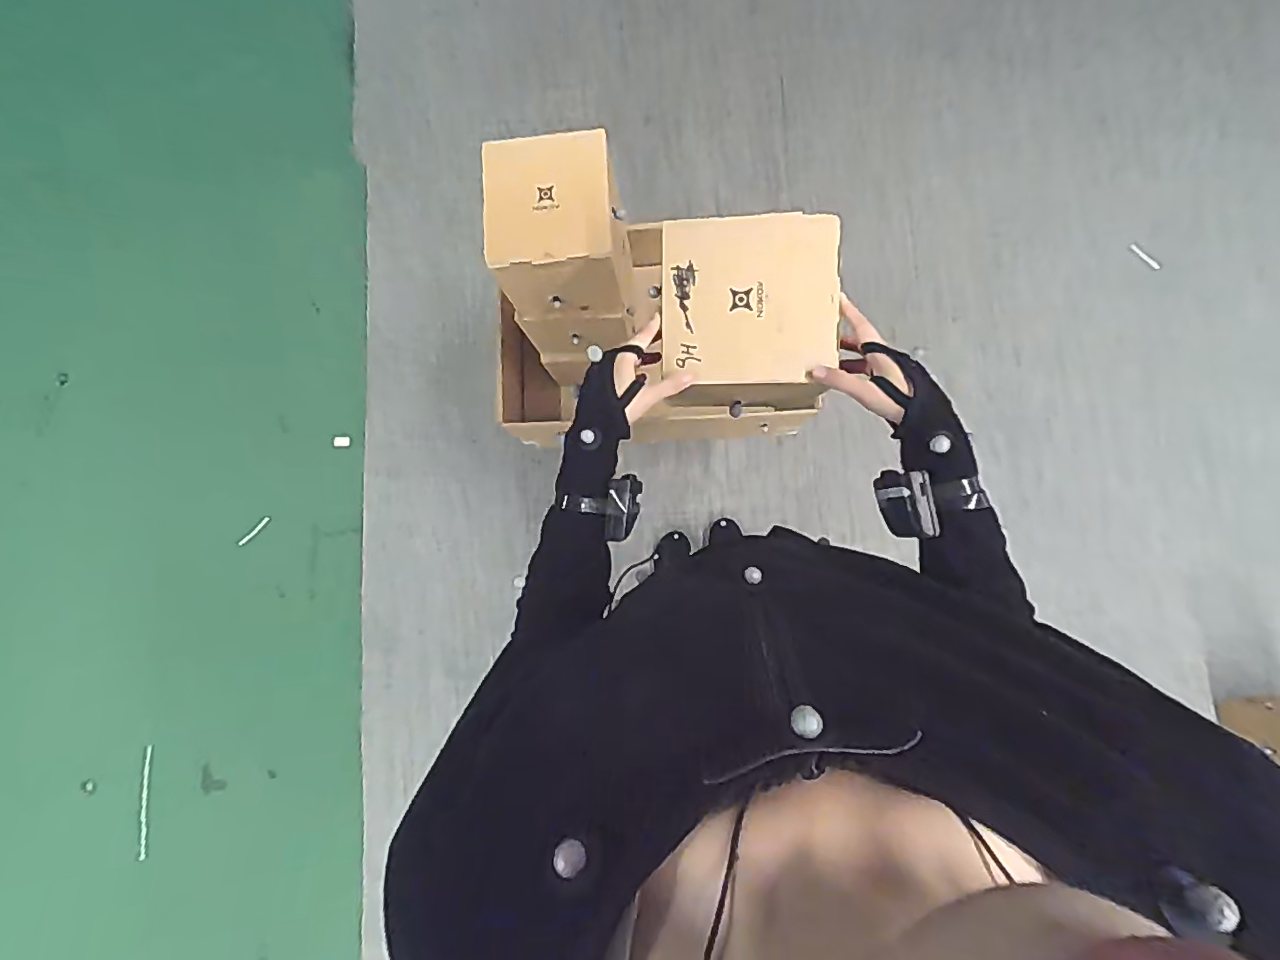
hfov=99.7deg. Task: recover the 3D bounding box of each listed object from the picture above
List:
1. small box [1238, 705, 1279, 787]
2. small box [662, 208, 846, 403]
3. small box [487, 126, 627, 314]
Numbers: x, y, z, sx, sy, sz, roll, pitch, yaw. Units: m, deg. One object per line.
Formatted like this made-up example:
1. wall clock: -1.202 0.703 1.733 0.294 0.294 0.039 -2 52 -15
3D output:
1. small box: 1.570 0.633 1.260 0.168 0.176 0.179 -5 83 5
2. small box: 0.114 -0.181 0.603 0.179 0.176 0.168 1 89 4
3. small box: -0.110 -0.358 0.770 0.168 0.176 0.179 -4 84 4
